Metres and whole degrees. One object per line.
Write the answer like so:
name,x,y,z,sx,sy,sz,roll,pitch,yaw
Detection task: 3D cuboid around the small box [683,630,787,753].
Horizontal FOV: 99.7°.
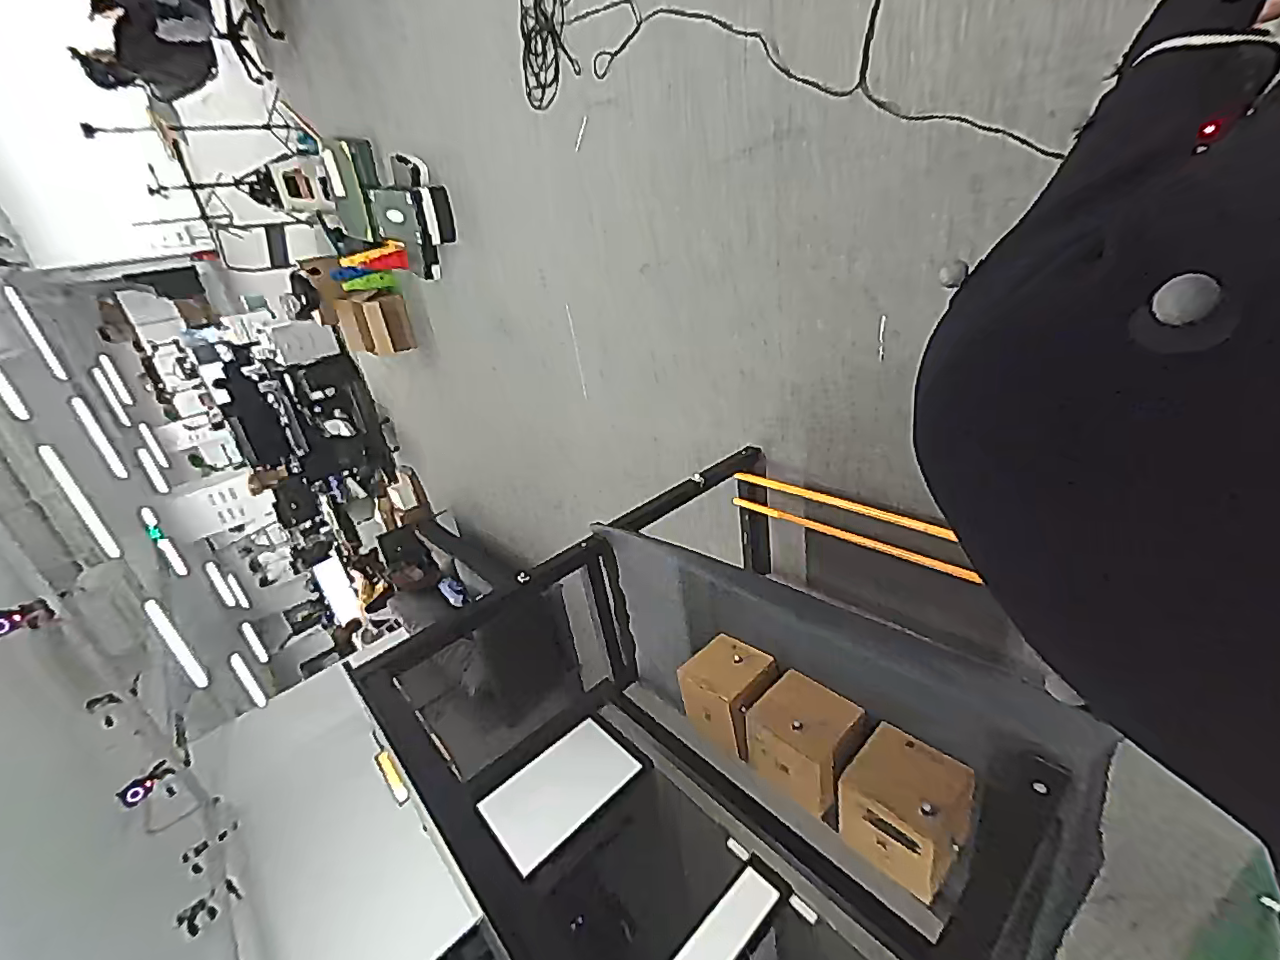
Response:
small box,0.230,0.493,1.283,0.168,0.176,0.179,11,121,49
